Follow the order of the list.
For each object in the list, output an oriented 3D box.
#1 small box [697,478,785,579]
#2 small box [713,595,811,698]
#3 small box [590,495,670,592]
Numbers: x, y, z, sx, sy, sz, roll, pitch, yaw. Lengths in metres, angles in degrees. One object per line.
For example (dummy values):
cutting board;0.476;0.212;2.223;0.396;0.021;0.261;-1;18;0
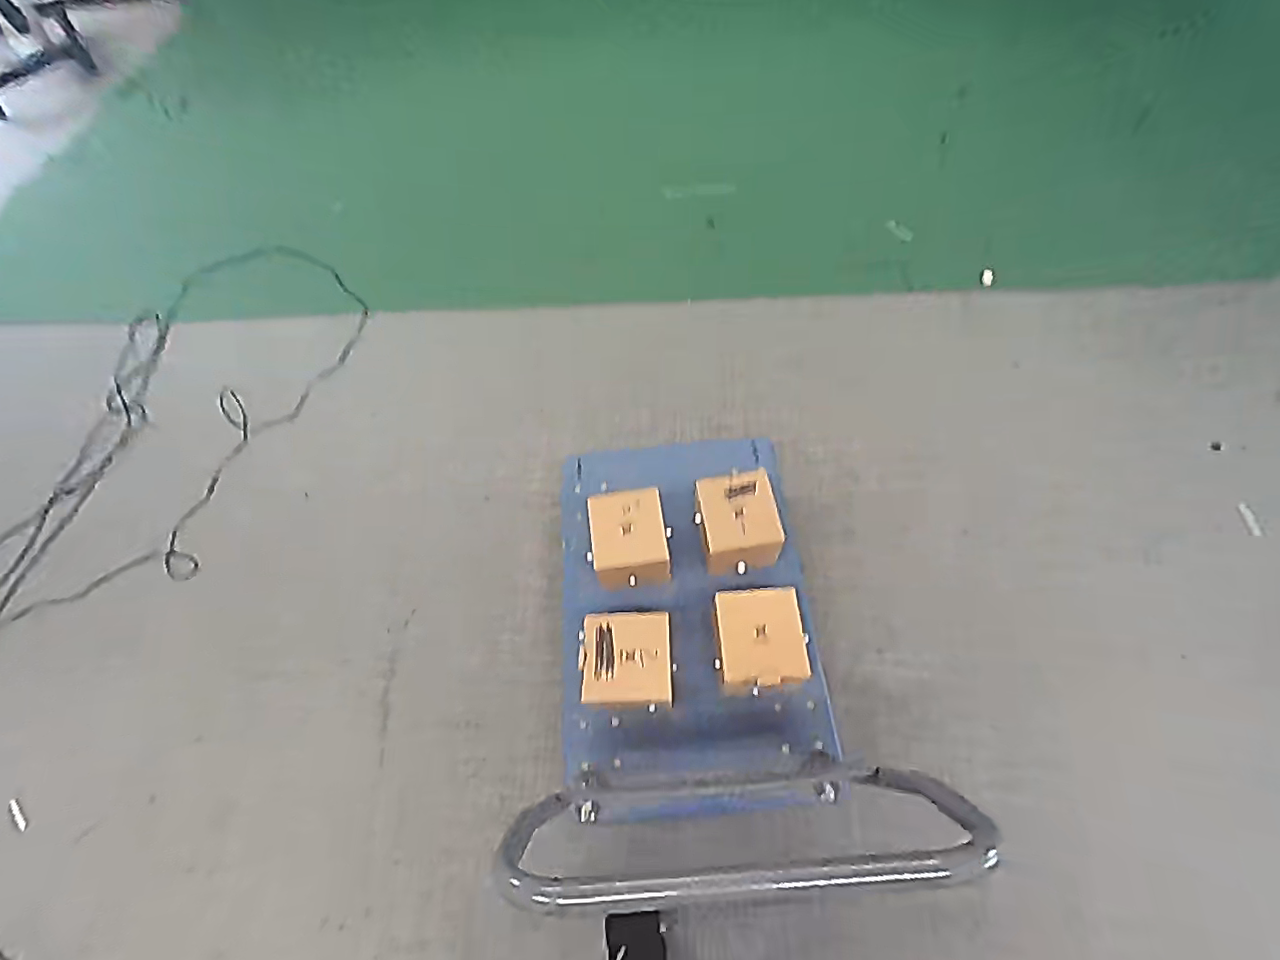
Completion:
small box;0.229;0.117;1.272;0.168;0.176;0.179;-9;62;1
small box;0.247;0.355;1.143;0.168;0.176;0.179;-4;62;2
small box;-0.021;0.156;1.271;0.168;0.176;0.179;-8;61;-1
